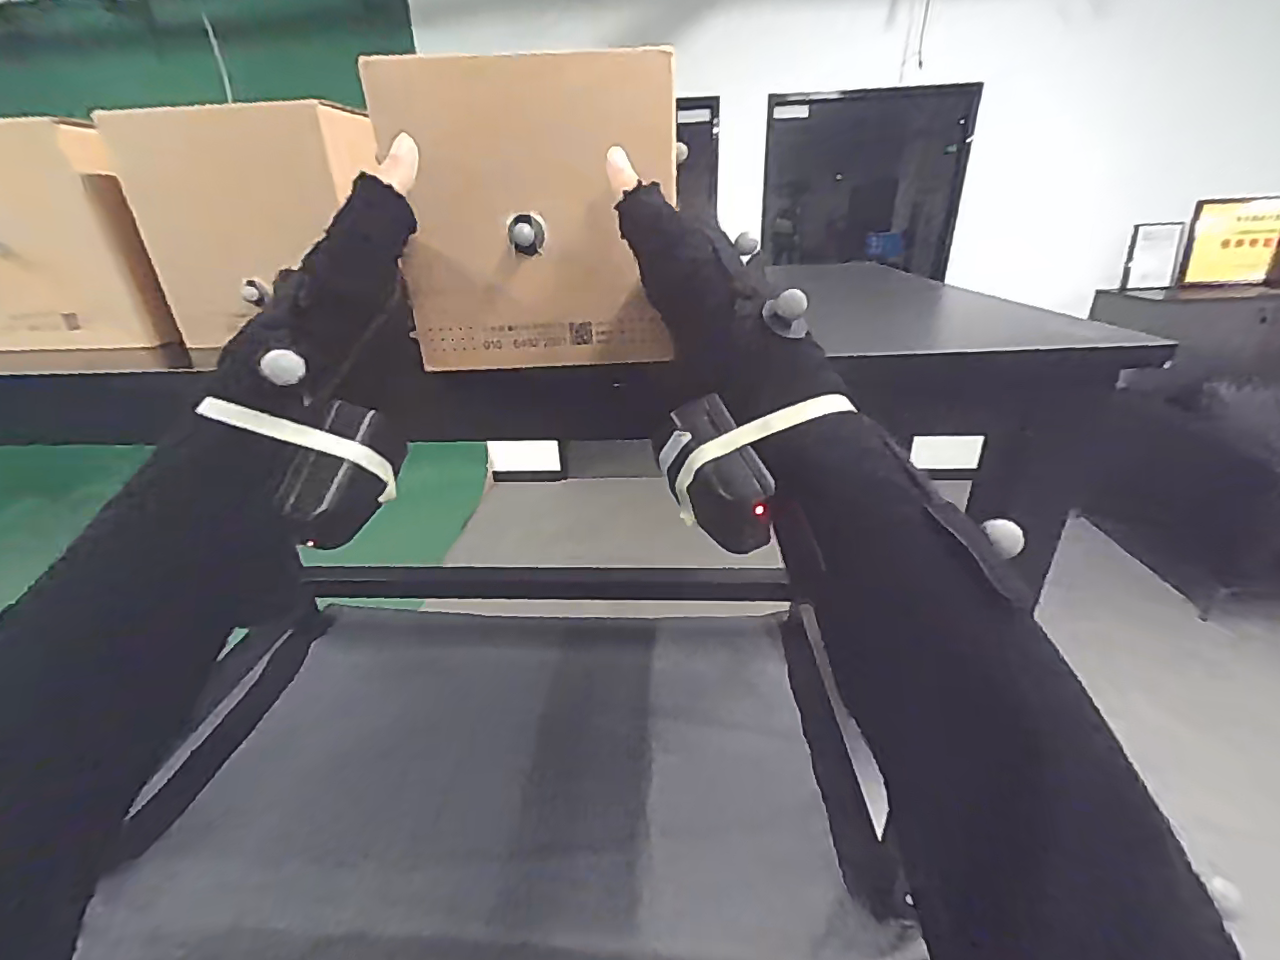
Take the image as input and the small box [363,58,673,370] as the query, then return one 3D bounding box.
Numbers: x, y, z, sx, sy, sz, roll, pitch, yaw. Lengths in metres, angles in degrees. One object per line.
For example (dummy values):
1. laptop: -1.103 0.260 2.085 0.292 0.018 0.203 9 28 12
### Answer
1. small box: -0.065 -0.180 0.394 0.168 0.176 0.179 -3 26 -1
